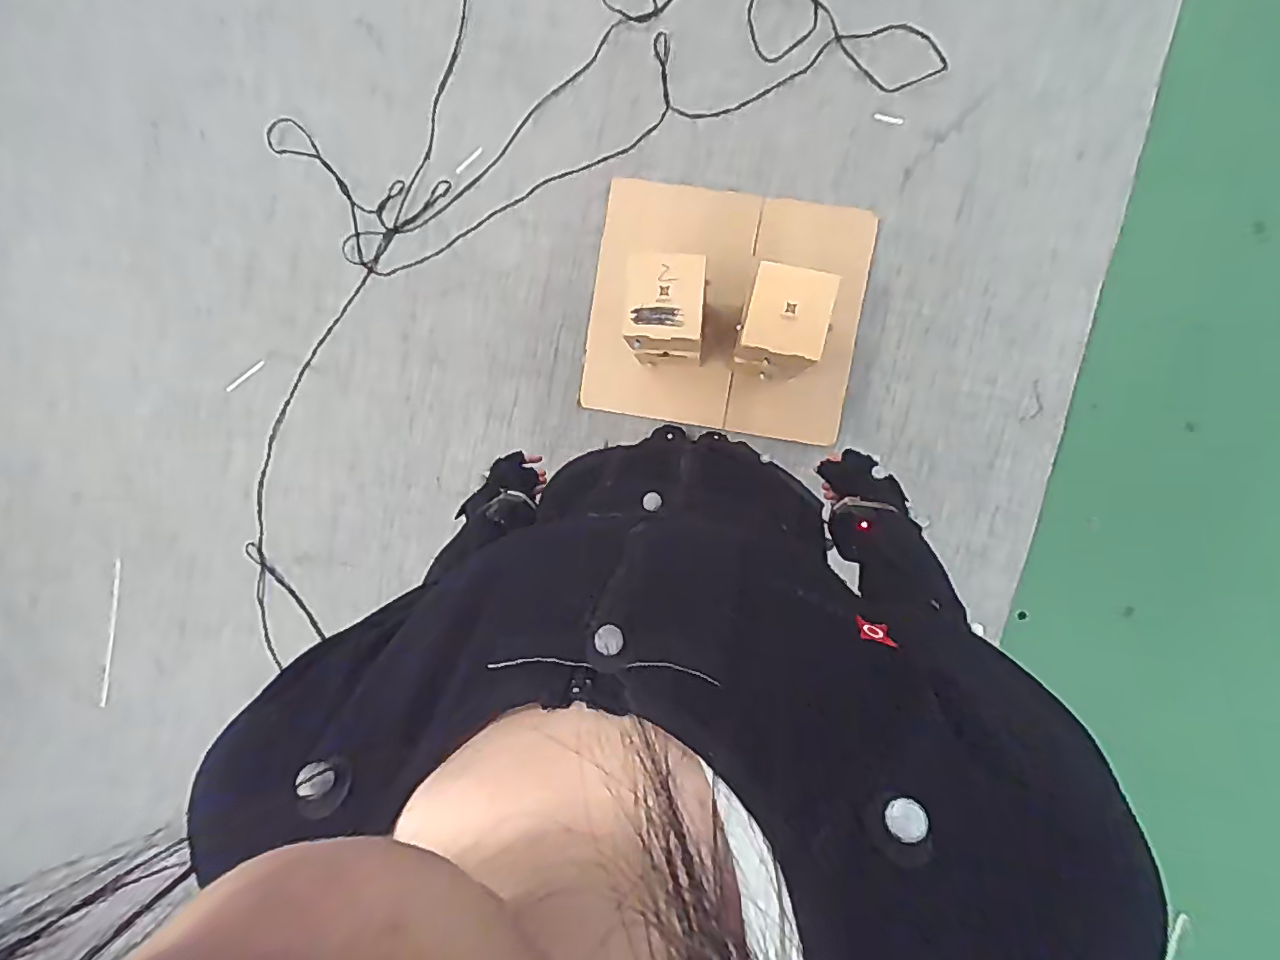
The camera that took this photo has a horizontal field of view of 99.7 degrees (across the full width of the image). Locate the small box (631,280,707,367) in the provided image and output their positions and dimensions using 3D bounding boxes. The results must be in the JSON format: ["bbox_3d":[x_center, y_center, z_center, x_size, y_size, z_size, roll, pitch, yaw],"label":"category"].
[{"bbox_3d":[0.076,-0.383,1.349,0.168,0.176,0.179,5,95,5],"label":"small box"}]

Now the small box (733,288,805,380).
[{"bbox_3d":[0.324,-0.352,1.331,0.168,0.176,0.179,10,96,6],"label":"small box"}]

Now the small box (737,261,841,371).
[{"bbox_3d":[0.311,-0.346,1.169,0.168,0.176,0.179,13,96,5],"label":"small box"}]
